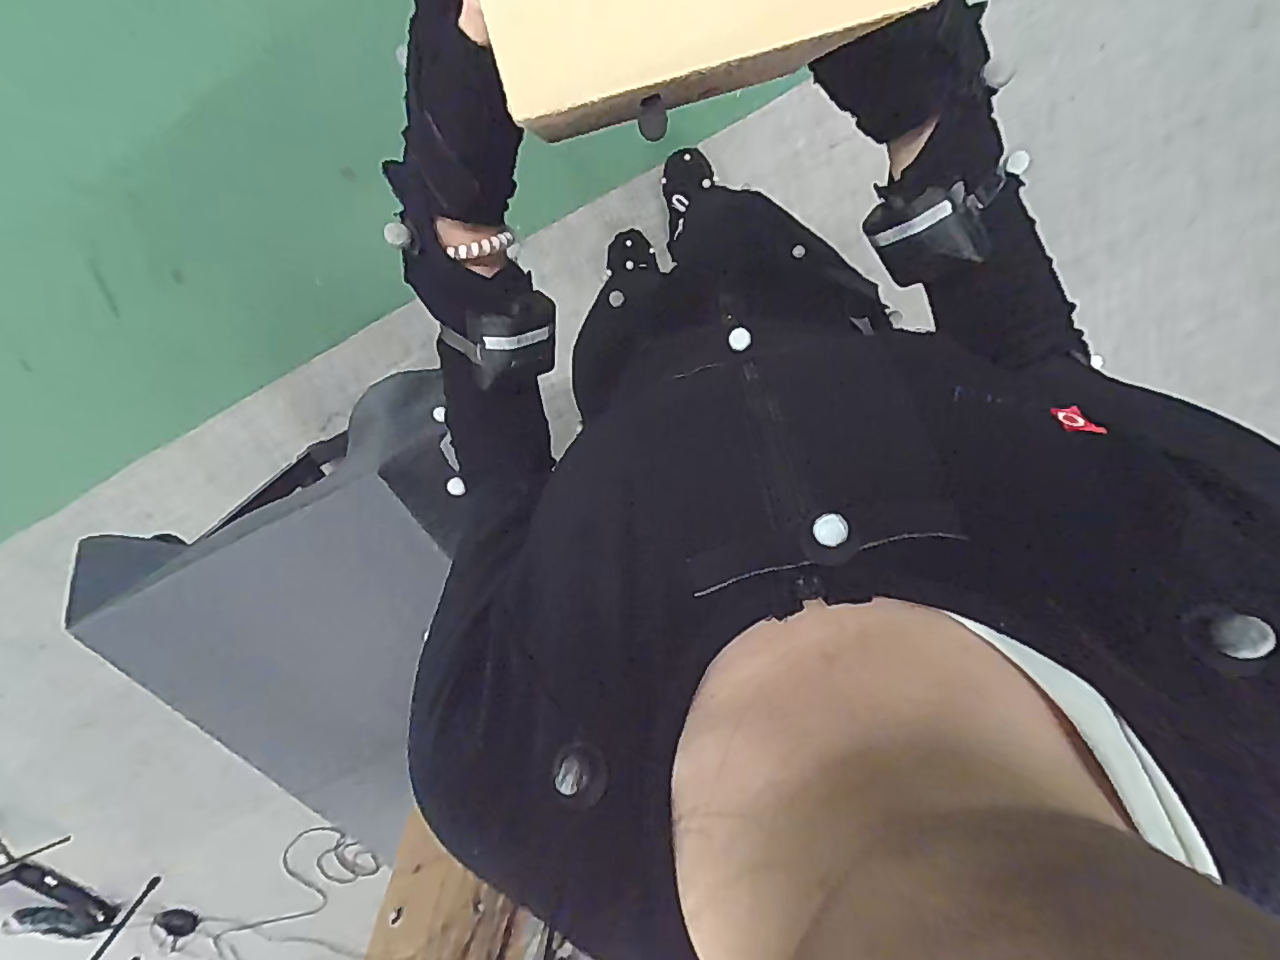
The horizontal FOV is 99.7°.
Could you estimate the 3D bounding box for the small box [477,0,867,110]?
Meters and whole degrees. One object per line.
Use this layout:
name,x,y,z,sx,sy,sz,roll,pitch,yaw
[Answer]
small box,0.004,-0.277,0.227,0.168,0.176,0.179,-14,119,3

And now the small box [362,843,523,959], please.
small box,-0.305,0.705,0.849,0.168,0.176,0.179,-26,116,11
